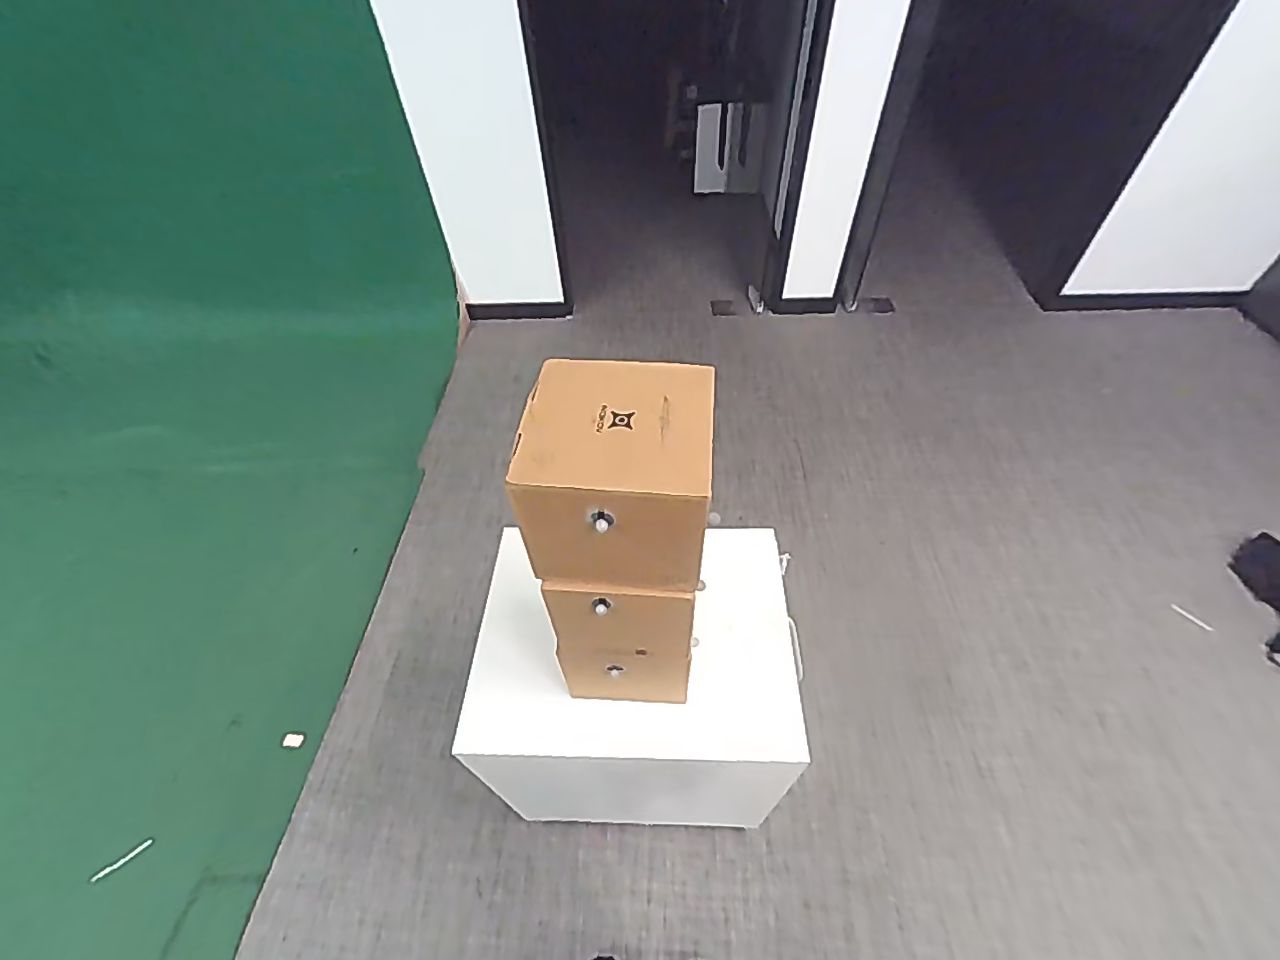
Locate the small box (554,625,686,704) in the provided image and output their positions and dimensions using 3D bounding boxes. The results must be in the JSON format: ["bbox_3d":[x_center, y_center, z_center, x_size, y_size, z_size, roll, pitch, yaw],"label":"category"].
[{"bbox_3d":[-0.018,0.222,0.807,0.179,0.176,0.168,2,49,3],"label":"small box"}]

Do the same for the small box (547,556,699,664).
[{"bbox_3d":[-0.016,0.114,0.688,0.168,0.176,0.179,2,50,2],"label":"small box"}]

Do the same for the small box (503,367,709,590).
[{"bbox_3d":[-0.023,0.002,0.567,0.179,0.176,0.168,4,51,4],"label":"small box"}]
